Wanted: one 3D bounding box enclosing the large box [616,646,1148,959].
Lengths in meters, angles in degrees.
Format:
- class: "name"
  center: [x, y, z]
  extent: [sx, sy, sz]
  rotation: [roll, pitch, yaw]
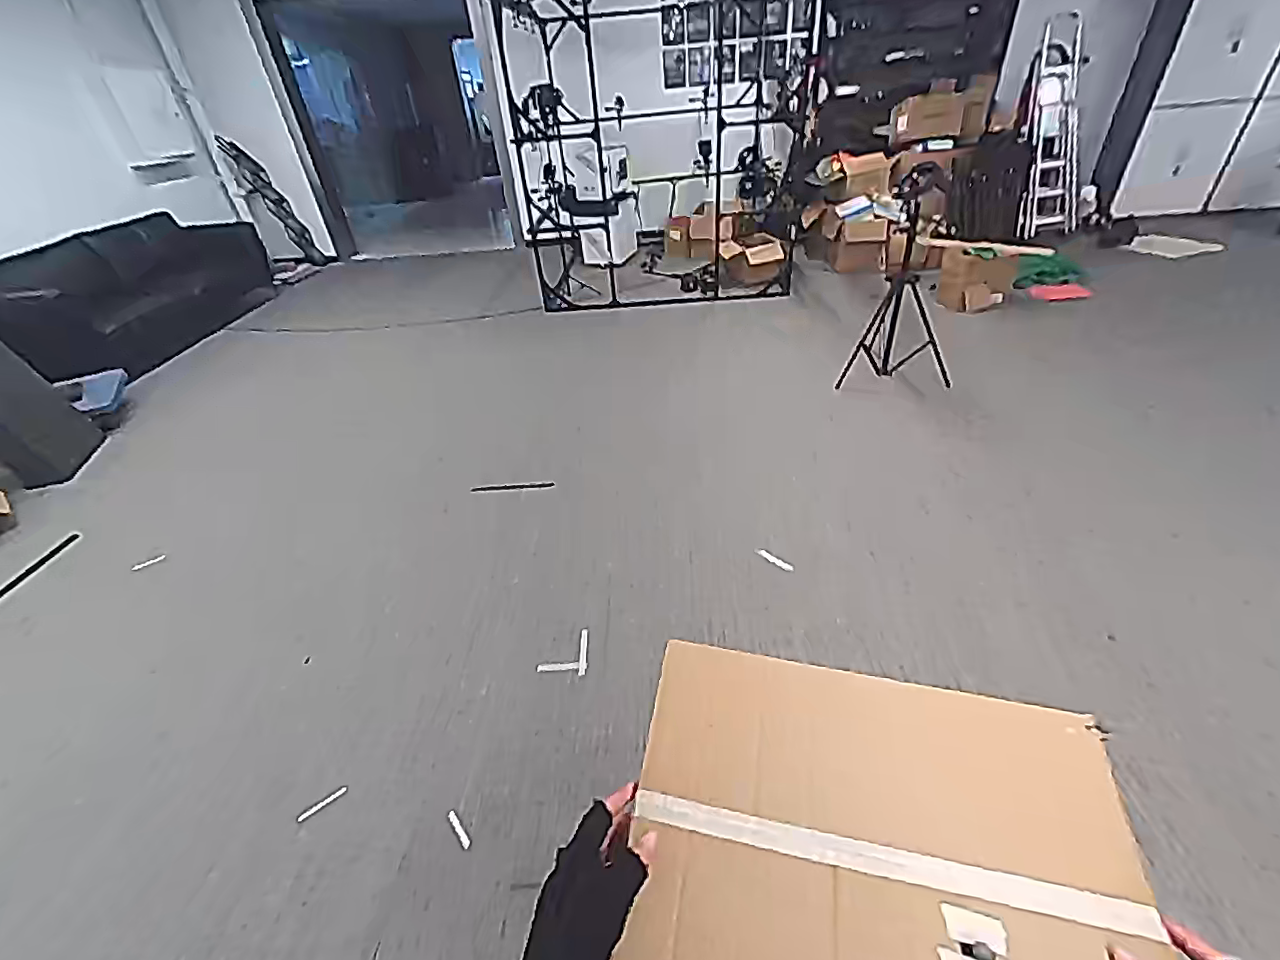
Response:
- class: "large box"
  center: [0.202, 0.415, 0.574]
  extent: [0.408, 0.320, 0.320]
  rotation: [8, 50, 10]
